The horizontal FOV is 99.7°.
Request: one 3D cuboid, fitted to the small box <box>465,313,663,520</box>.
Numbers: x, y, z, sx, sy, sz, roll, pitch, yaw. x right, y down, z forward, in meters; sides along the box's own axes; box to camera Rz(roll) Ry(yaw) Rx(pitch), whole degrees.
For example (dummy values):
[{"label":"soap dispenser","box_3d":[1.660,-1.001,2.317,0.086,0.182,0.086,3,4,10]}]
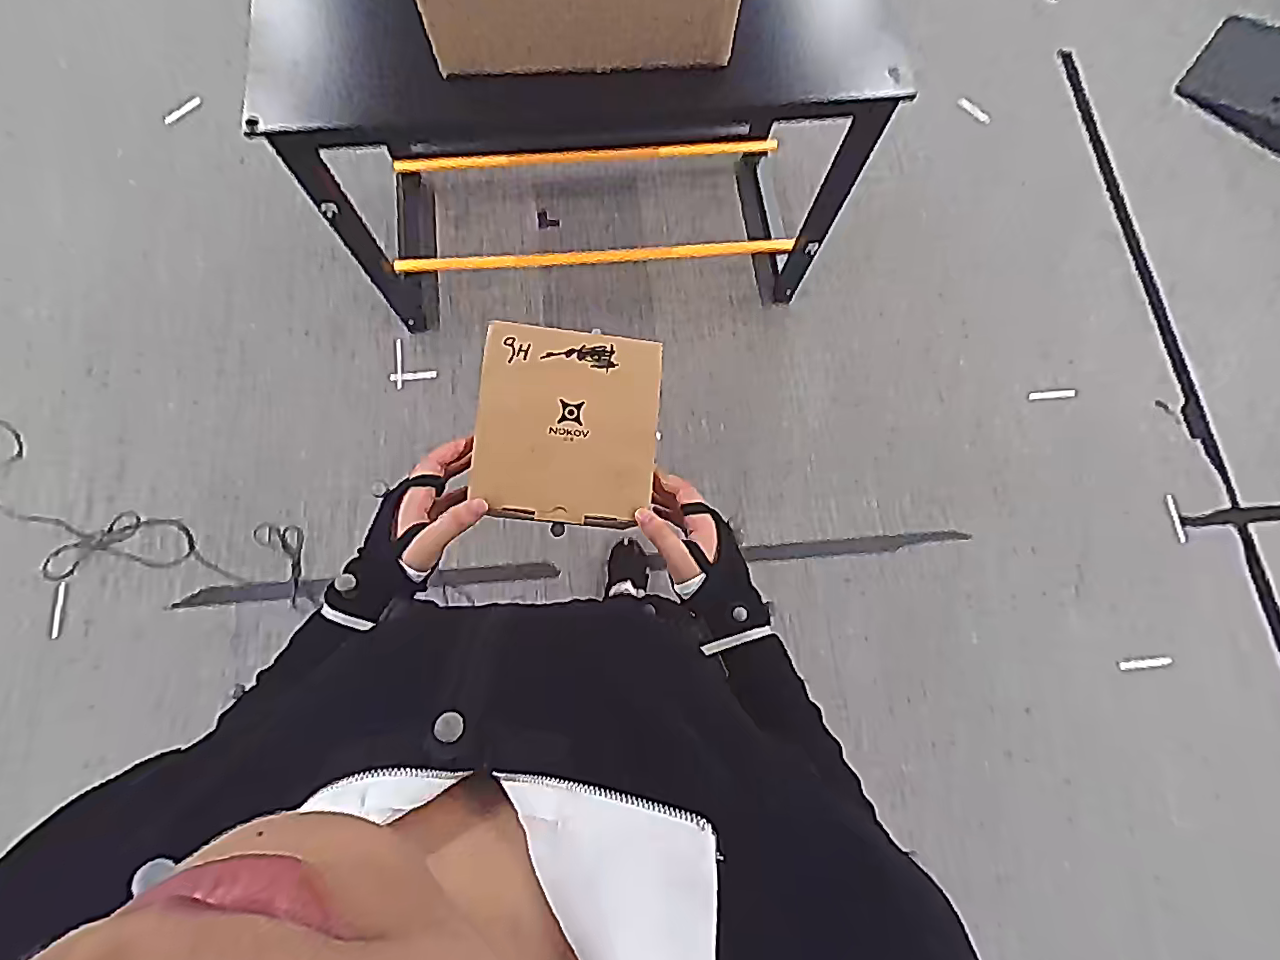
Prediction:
[{"label":"small box","box_3d":[-0.076,-0.051,0.569,0.168,0.176,0.179,5,84,-8]}]
